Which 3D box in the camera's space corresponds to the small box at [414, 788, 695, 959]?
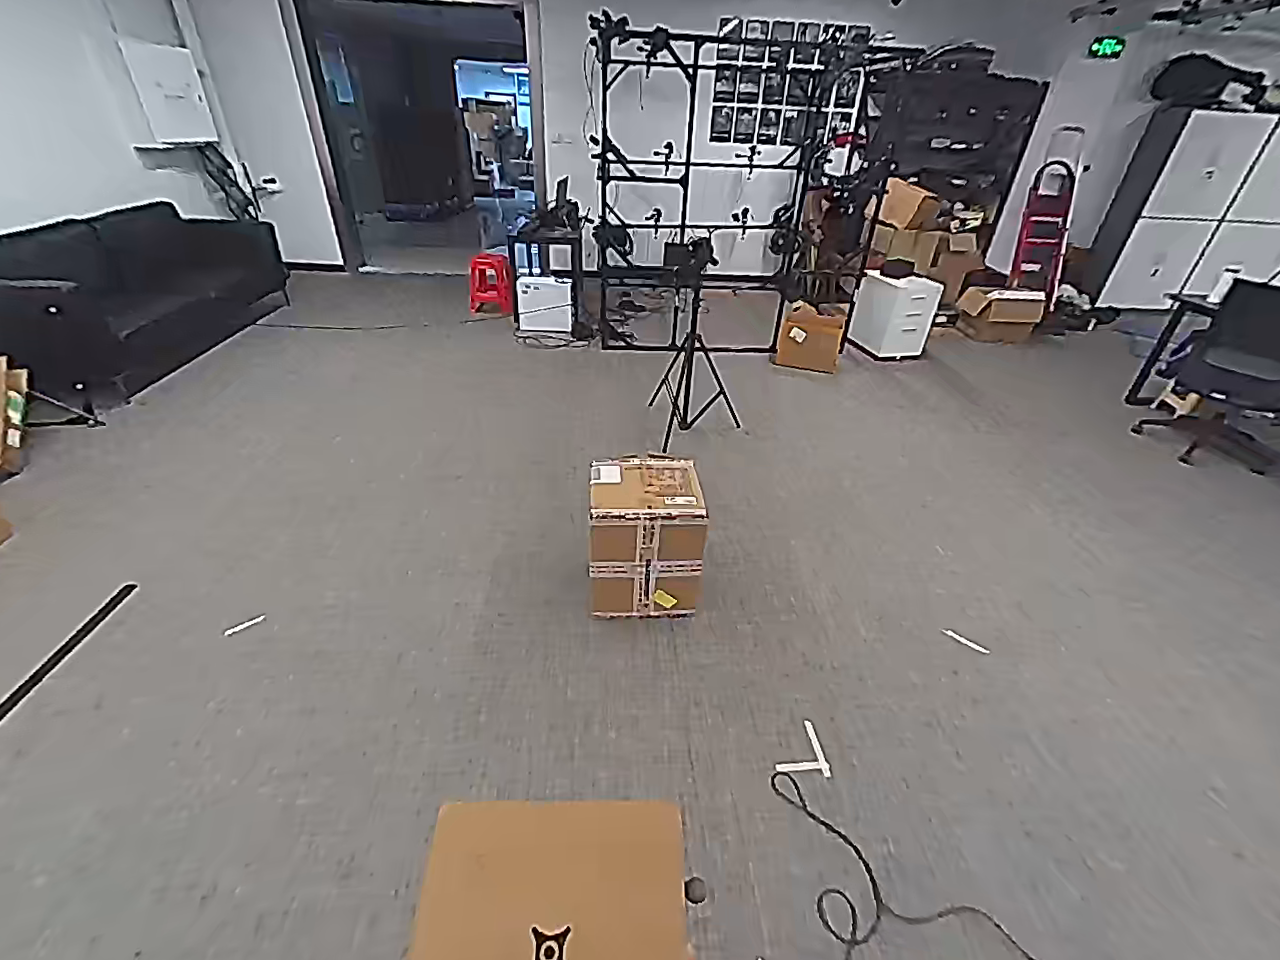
[{"bbox_3d":[-0.051,0.333,0.372,0.168,0.176,0.179,0,47,1],"label":"small box"}]
